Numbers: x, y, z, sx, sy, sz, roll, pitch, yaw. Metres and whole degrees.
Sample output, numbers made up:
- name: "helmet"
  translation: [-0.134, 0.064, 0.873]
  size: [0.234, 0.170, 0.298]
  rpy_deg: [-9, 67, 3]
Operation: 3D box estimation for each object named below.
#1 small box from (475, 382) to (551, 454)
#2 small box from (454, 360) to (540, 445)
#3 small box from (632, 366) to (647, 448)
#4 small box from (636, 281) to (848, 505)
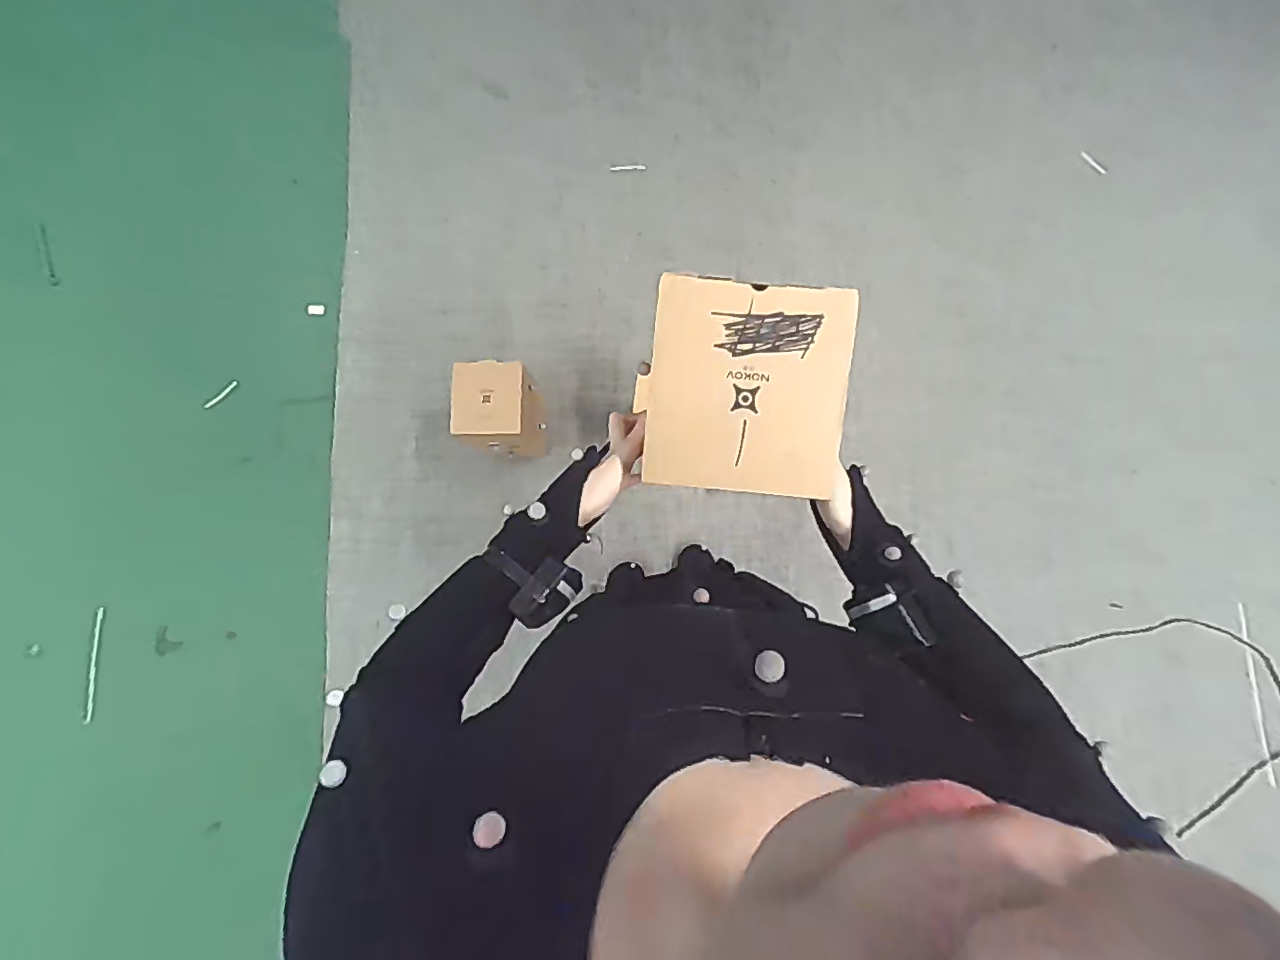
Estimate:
- name: "small box"
  translation: [-0.346, -0.170, 1.500]
  size: [0.168, 0.176, 0.179]
  rpy_deg: [3, 84, 2]
- name: "small box"
  translation: [-0.347, -0.187, 1.338]
  size: [0.168, 0.176, 0.179]
  rpy_deg: [-1, 84, 2]
- name: "small box"
  translation: [0.072, -0.163, 1.326]
  size: [0.168, 0.176, 0.179]
  rpy_deg: [6, 84, 2]
- name: "small box"
  translation: [0.087, -0.080, 0.540]
  size: [0.168, 0.176, 0.179]
  rpy_deg: [6, 96, 1]
